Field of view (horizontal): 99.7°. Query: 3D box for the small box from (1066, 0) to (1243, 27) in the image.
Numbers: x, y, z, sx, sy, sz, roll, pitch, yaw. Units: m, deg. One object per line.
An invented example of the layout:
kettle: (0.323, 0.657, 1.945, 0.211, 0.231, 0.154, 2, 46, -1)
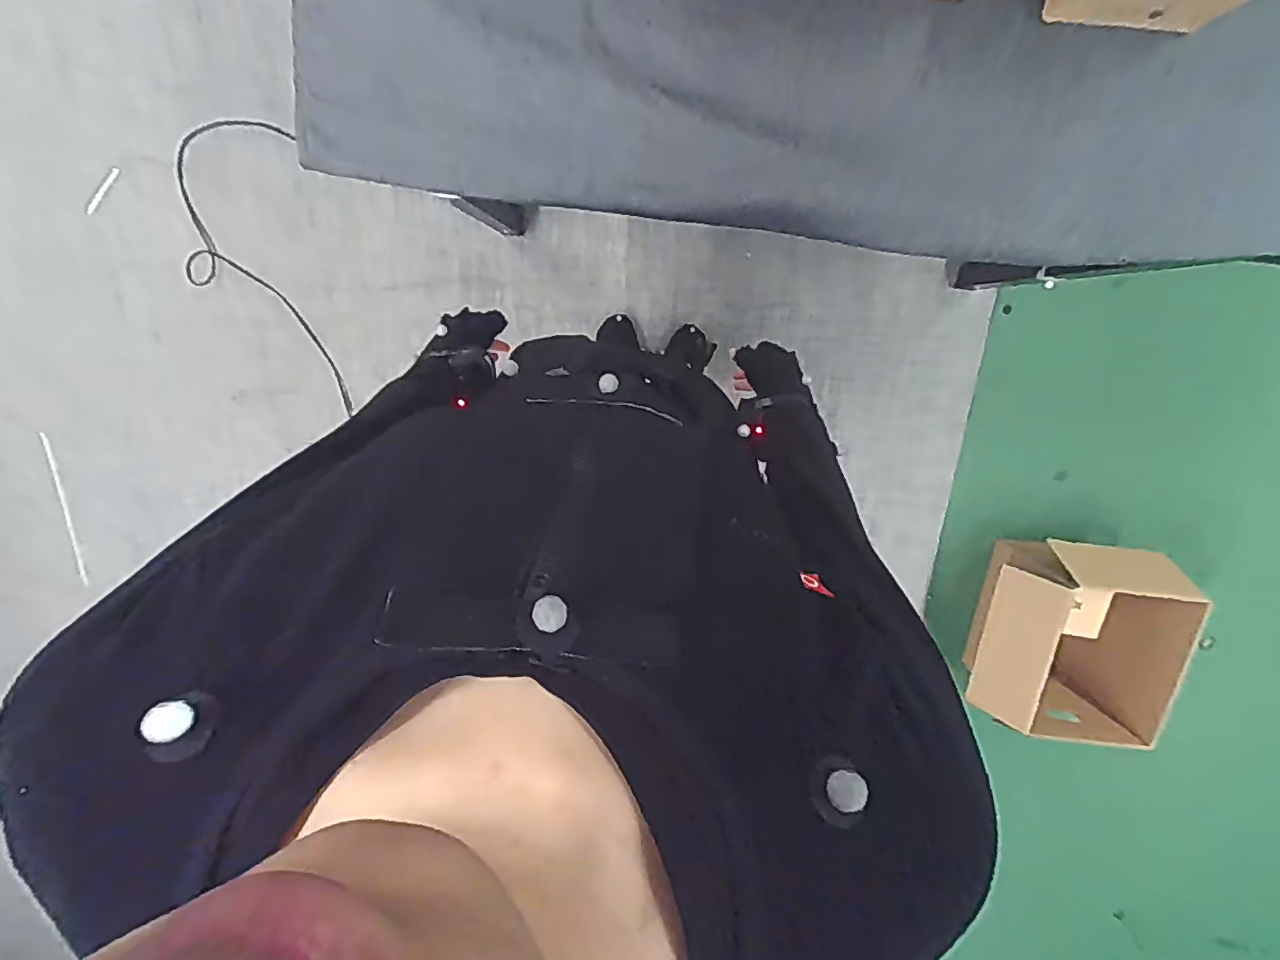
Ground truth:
small box: (0.516, -0.542, 0.473, 0.168, 0.176, 0.179, 5, 106, 0)
